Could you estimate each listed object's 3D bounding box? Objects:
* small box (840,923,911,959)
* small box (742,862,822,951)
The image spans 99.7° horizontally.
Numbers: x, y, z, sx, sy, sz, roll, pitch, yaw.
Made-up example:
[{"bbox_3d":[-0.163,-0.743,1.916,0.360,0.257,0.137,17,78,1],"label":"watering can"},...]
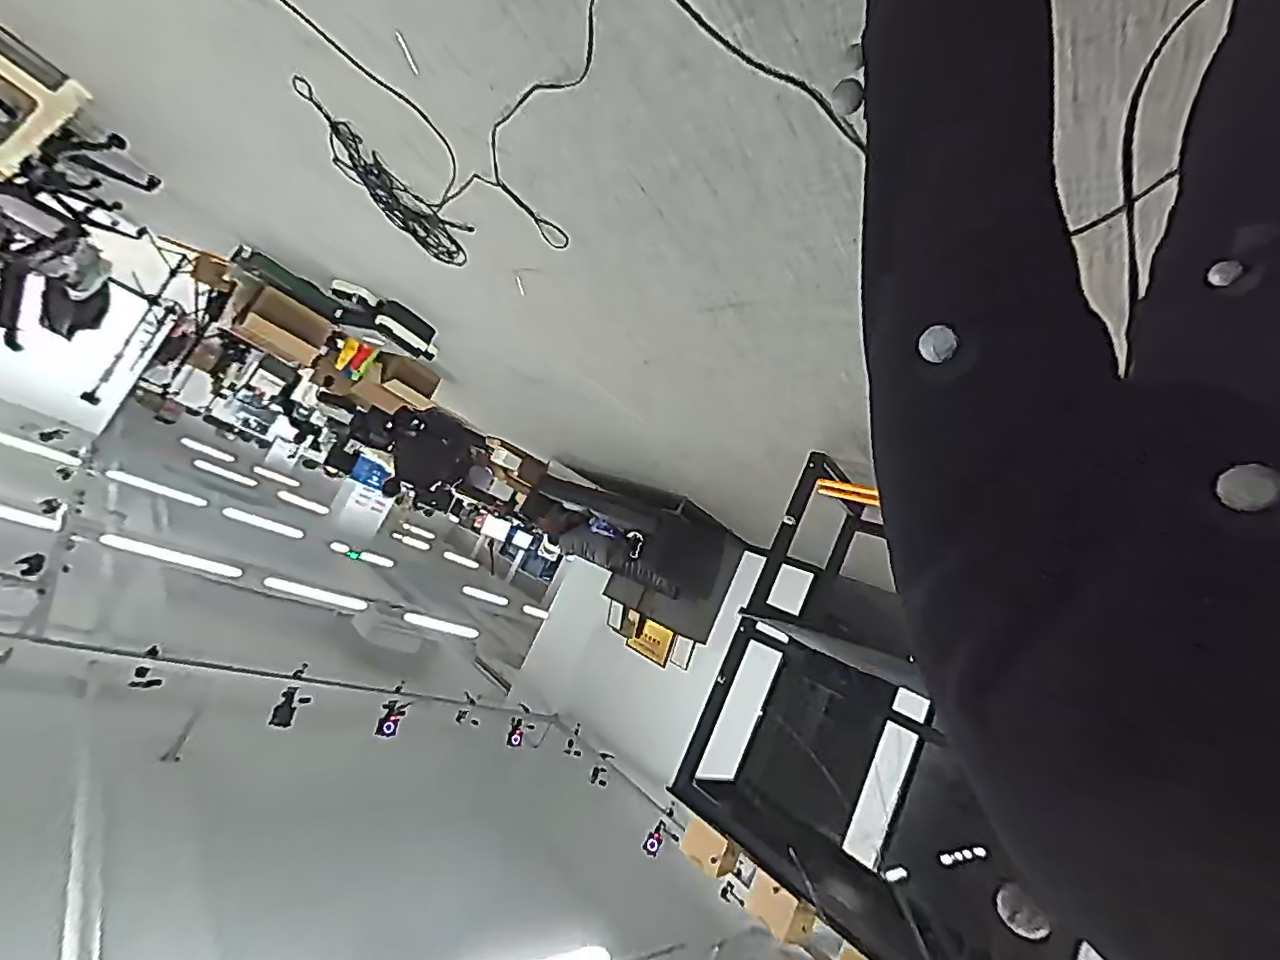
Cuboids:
[{"bbox_3d":[0.690,1.474,1.609,0.168,0.176,0.179,18,168,38],"label":"small box"},{"bbox_3d":[0.480,1.412,1.805,0.179,0.176,0.168,34,167,-38],"label":"small box"}]
